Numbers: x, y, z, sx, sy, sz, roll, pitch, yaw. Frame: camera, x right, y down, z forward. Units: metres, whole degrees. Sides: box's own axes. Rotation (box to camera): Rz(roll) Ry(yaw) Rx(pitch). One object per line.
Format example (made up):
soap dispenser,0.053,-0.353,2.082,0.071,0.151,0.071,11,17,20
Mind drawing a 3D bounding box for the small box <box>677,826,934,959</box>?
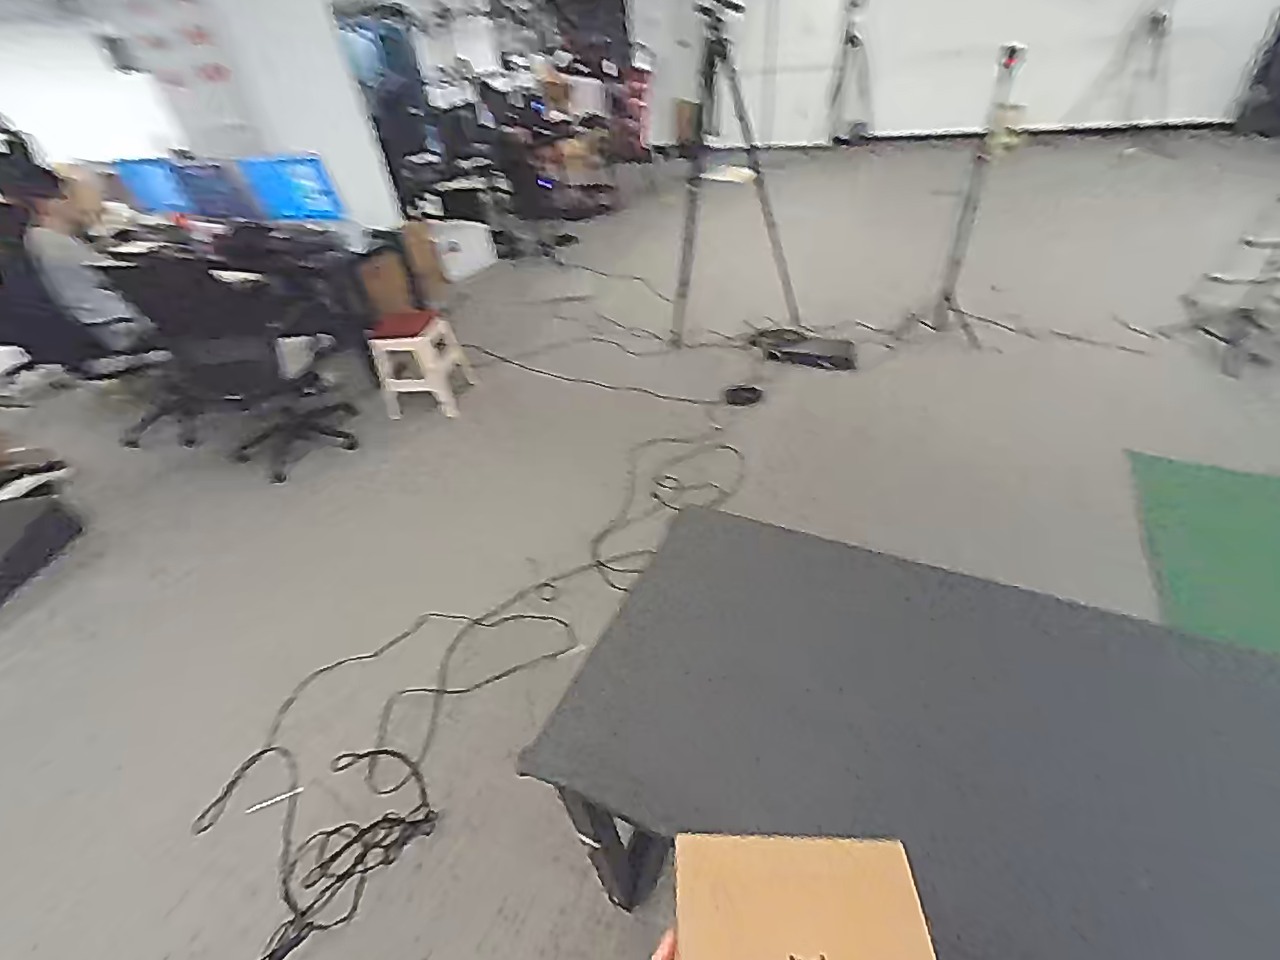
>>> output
small box,0.110,0.380,0.390,0.168,0.176,0.179,0,41,5
